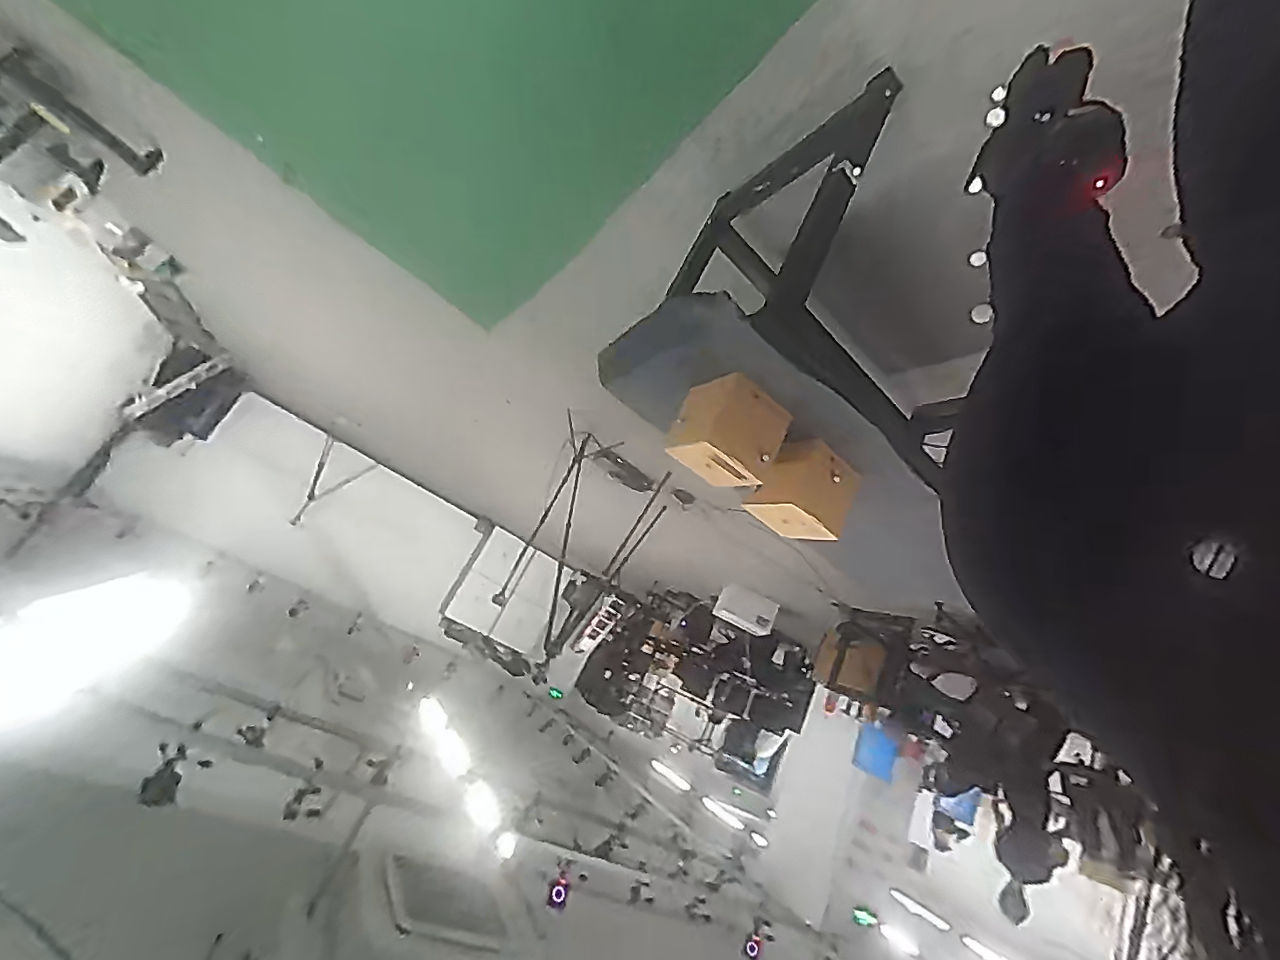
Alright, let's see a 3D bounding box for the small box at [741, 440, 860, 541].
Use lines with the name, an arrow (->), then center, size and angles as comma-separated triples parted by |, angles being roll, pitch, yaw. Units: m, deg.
small box -> 0.374, 0.026, 1.251 | 0.168, 0.176, 0.179 | 34, 160, -24
